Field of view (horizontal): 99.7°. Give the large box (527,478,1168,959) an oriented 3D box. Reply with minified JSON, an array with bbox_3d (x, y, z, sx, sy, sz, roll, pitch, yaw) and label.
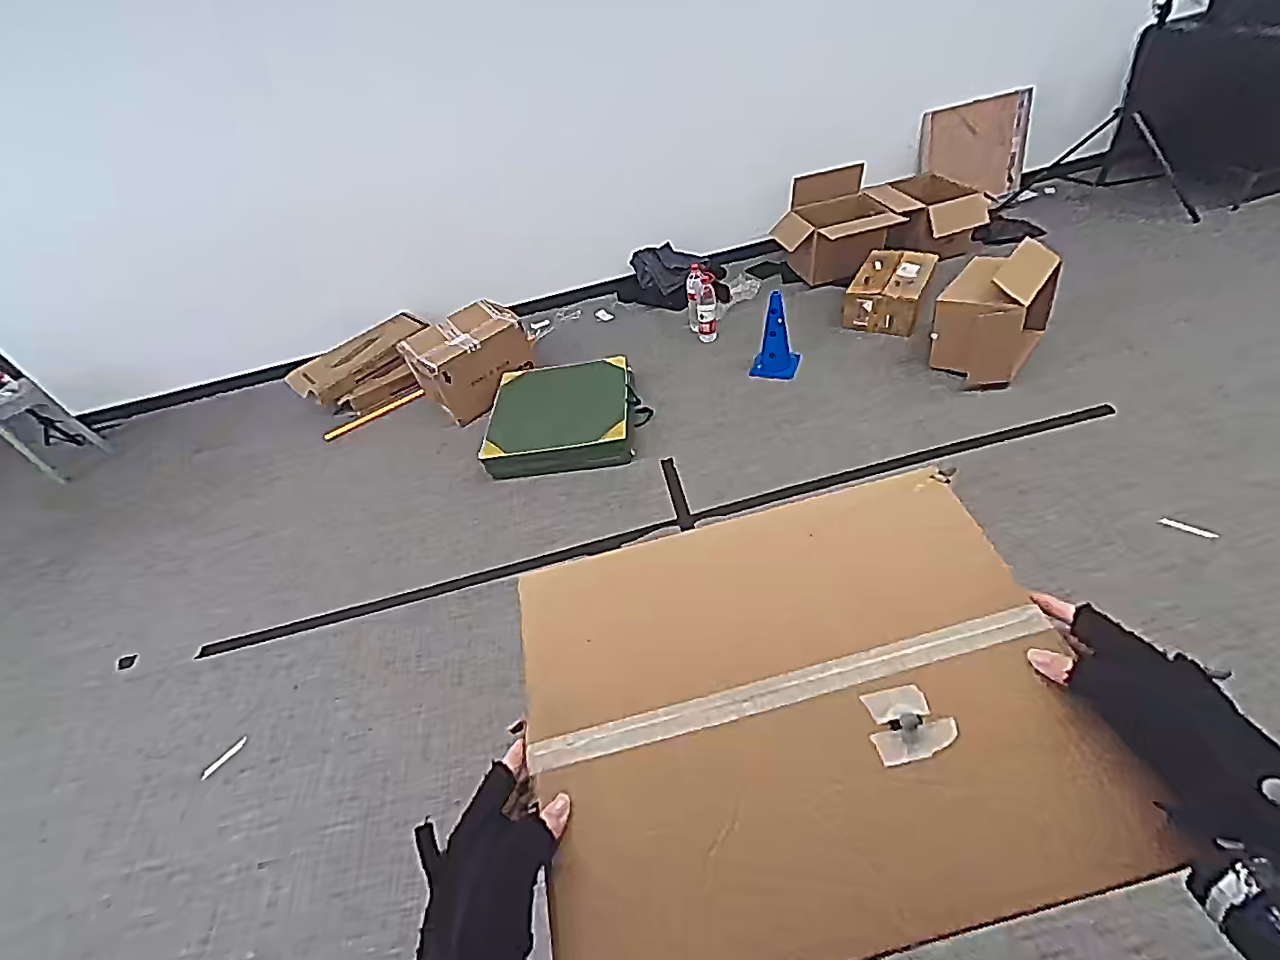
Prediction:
[{"bbox_3d":[0.136,0.254,0.547,0.408,0.320,0.320,-15,53,-1],"label":"large box"}]
